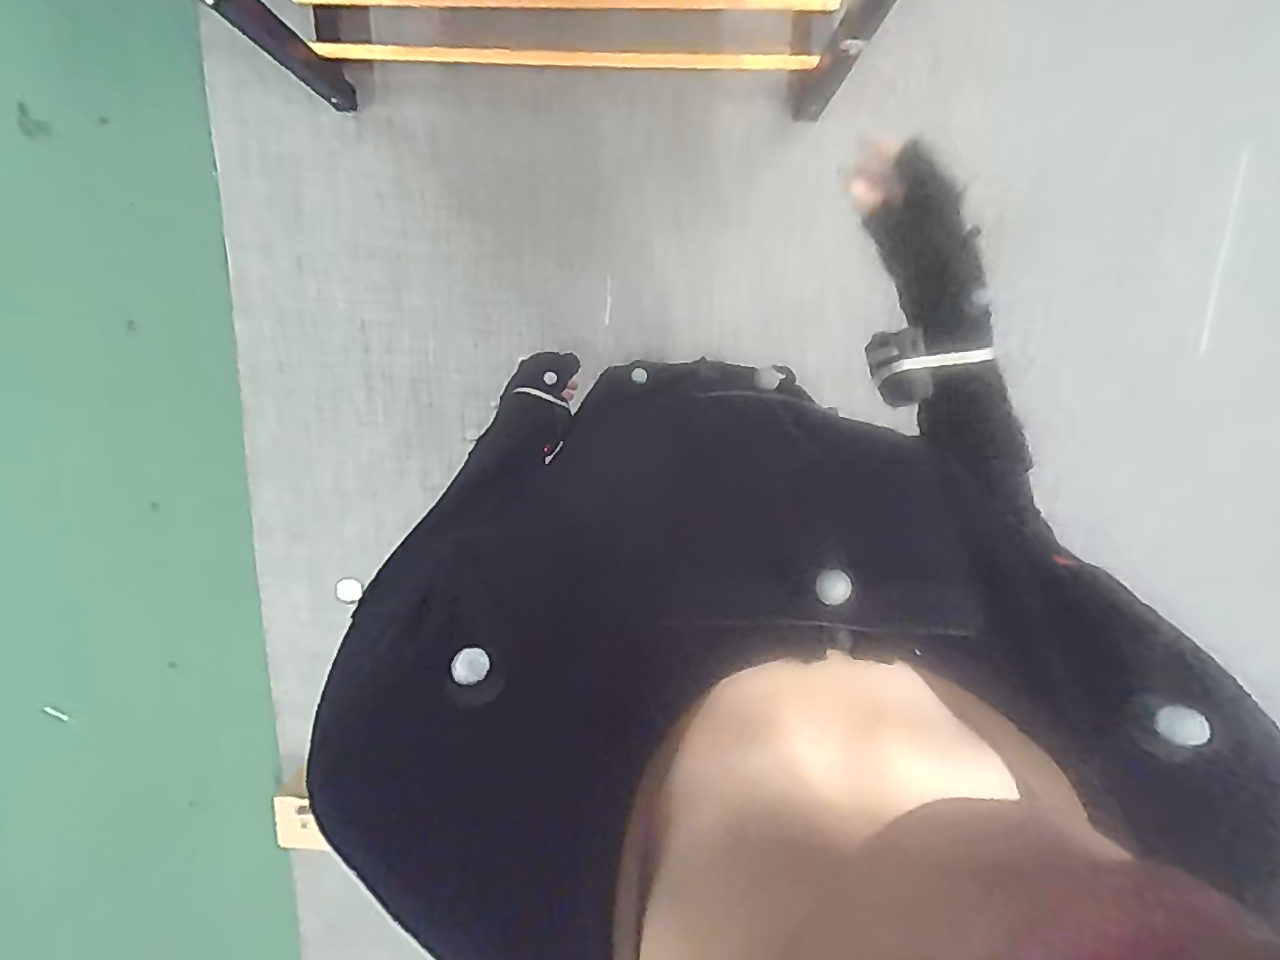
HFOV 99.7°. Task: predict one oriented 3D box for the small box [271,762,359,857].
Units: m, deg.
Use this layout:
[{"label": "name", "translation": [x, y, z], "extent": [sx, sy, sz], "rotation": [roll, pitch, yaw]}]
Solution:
[{"label": "small box", "translation": [-0.962, 0.977, 1.614], "extent": [0.168, 0.176, 0.179], "rotation": [4, 102, 1]}]
